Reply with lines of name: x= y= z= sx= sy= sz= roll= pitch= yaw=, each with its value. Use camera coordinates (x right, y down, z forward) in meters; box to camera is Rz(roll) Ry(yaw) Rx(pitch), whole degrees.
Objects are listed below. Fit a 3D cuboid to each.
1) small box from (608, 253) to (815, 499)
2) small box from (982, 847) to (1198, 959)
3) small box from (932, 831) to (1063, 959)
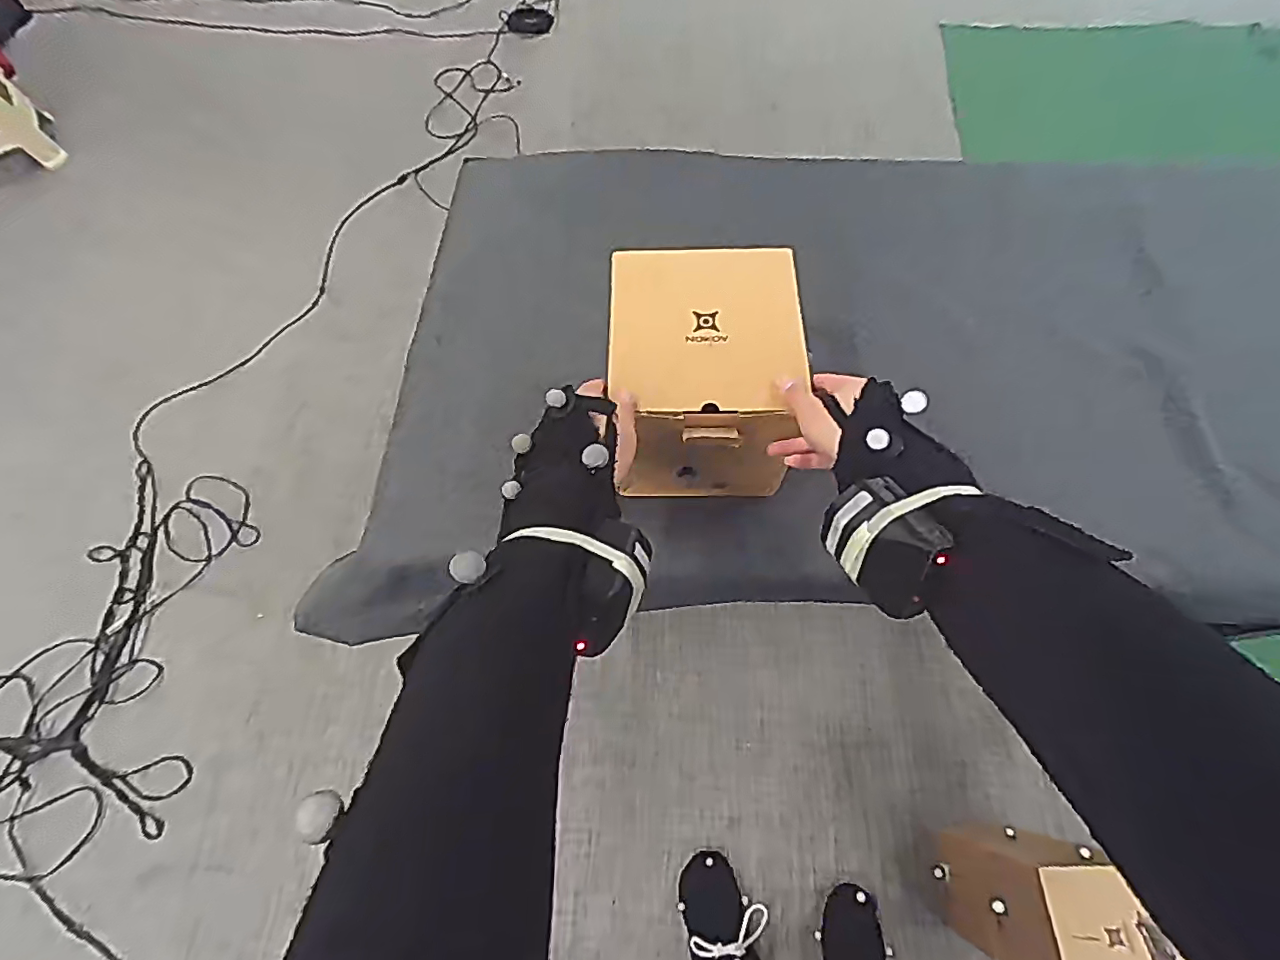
small box: x=0.057 y=-0.094 z=0.529 sx=0.168 sy=0.176 sz=0.179 roll=-1 pitch=66 yaw=1
small box: x=0.651 y=0.651 z=0.792 sx=0.179 sy=0.176 sz=0.168 roll=-2 pitch=65 yaw=2
small box: x=0.649 y=0.721 z=0.940 sx=0.179 sy=0.176 sz=0.168 roll=-2 pitch=65 yaw=1
